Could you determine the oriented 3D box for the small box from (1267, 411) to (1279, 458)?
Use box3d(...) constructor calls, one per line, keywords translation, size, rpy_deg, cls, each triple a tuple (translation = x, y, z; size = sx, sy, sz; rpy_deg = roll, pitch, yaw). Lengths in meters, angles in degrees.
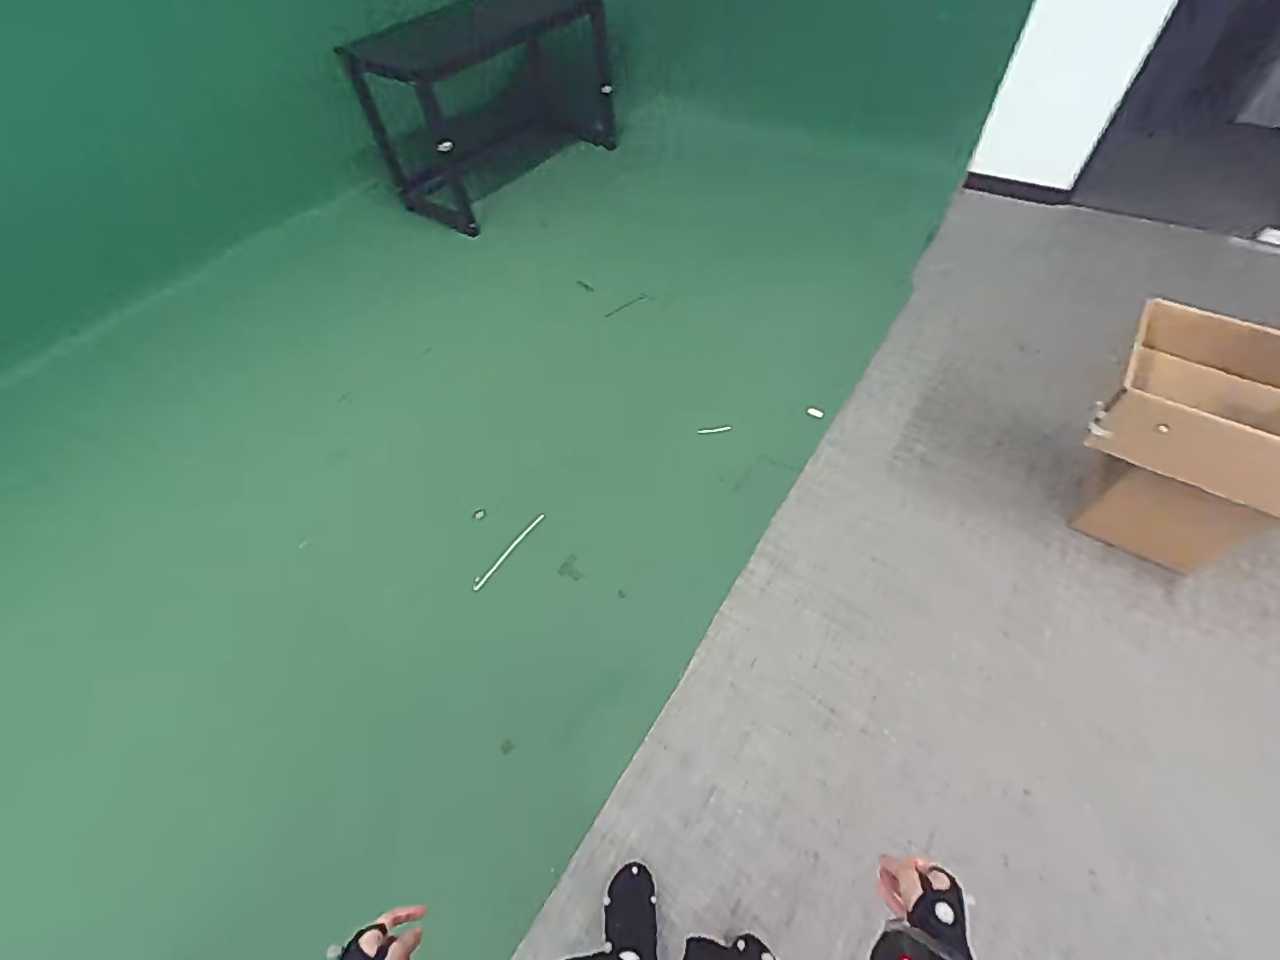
box3d(translation=(1.538, -0.116, 1.174), size=(0.168, 0.176, 0.179), rpy_deg=(32, 63, 25), cls="small box")
